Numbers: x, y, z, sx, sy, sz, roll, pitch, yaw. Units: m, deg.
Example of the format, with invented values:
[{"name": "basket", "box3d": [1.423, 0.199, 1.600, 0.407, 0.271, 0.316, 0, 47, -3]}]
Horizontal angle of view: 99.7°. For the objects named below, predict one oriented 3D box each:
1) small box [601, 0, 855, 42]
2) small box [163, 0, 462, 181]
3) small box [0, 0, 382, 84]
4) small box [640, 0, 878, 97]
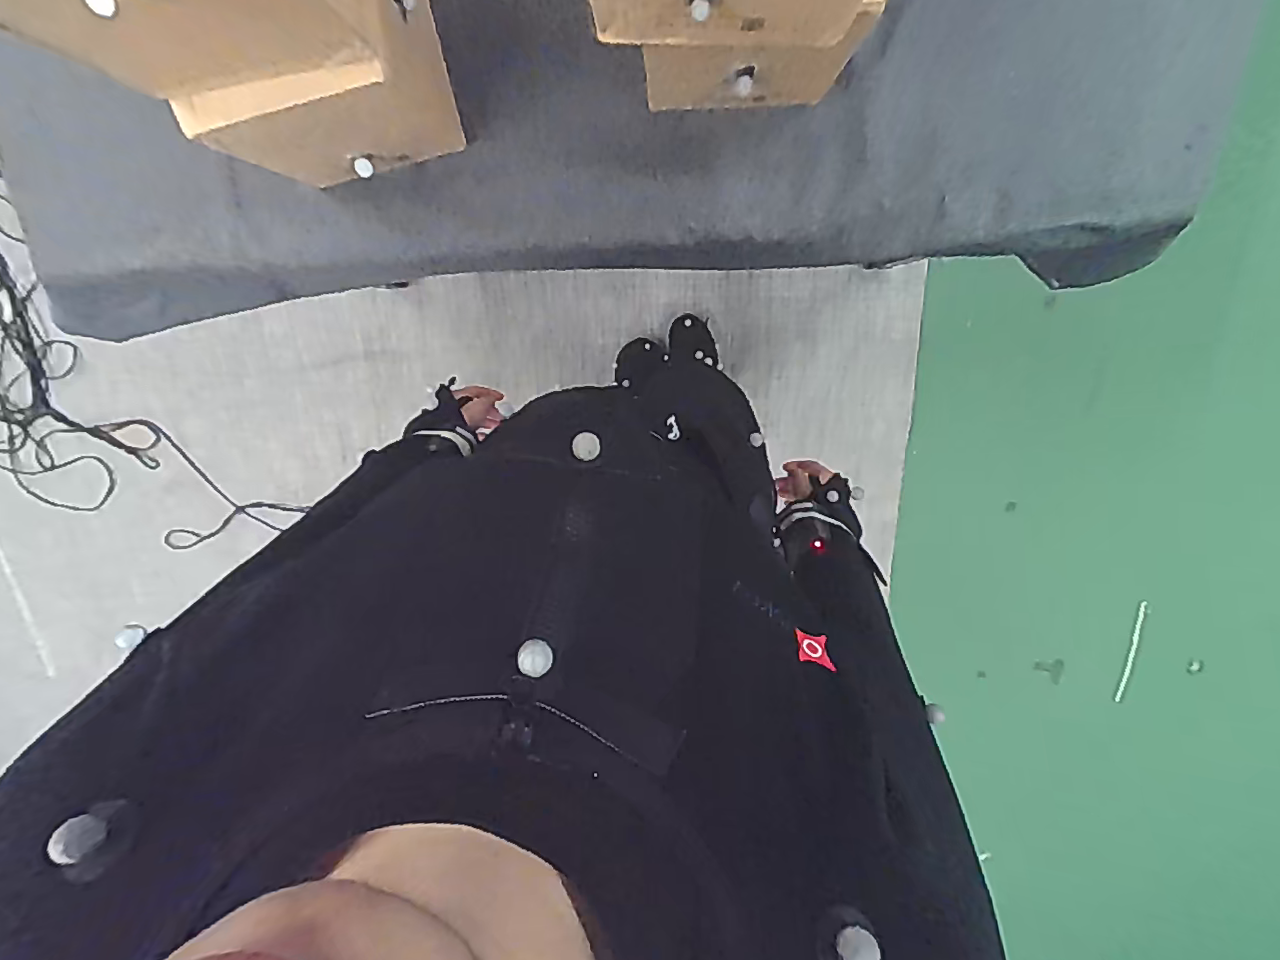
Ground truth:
[{"name": "small box", "box3d": [0.052, -0.362, 0.267, 0.168, 0.176, 0.179, 2, 107, 2]}, {"name": "small box", "box3d": [-0.272, -0.376, 0.446, 0.168, 0.176, 0.179, -11, 107, 6]}, {"name": "small box", "box3d": [-0.276, -0.344, 0.286, 0.179, 0.176, 0.168, -8, 108, 4]}, {"name": "small box", "box3d": [0.084, -0.421, 0.418, 0.168, 0.176, 0.179, -1, 107, 3]}]
